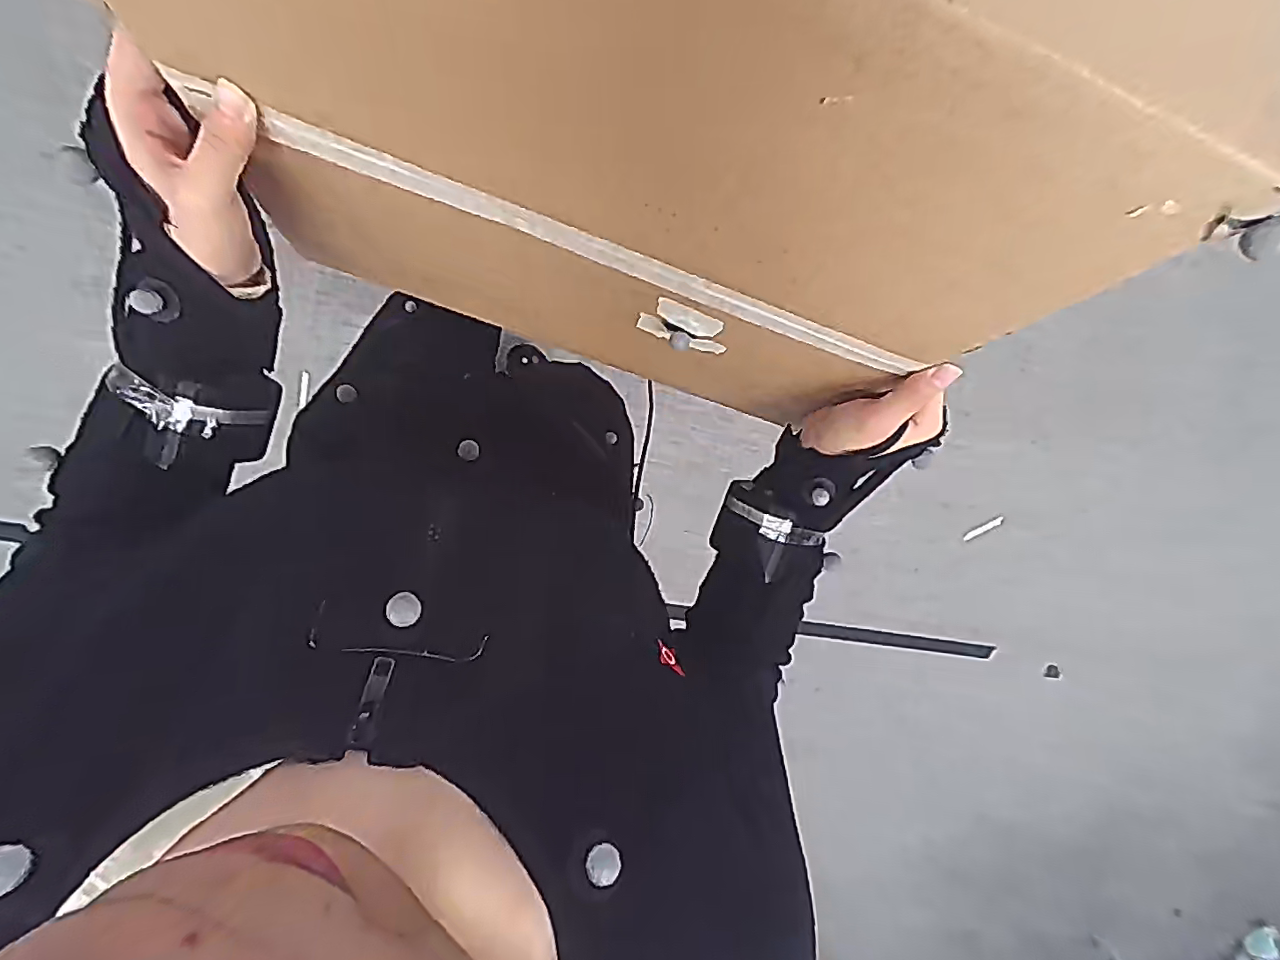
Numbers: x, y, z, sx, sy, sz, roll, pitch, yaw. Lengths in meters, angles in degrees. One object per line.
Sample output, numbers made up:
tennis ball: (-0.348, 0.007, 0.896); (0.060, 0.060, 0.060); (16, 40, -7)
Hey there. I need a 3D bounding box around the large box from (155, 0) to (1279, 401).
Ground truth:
large box: (0.025, -0.281, 0.284); (0.408, 0.320, 0.320); (16, 80, -9)
